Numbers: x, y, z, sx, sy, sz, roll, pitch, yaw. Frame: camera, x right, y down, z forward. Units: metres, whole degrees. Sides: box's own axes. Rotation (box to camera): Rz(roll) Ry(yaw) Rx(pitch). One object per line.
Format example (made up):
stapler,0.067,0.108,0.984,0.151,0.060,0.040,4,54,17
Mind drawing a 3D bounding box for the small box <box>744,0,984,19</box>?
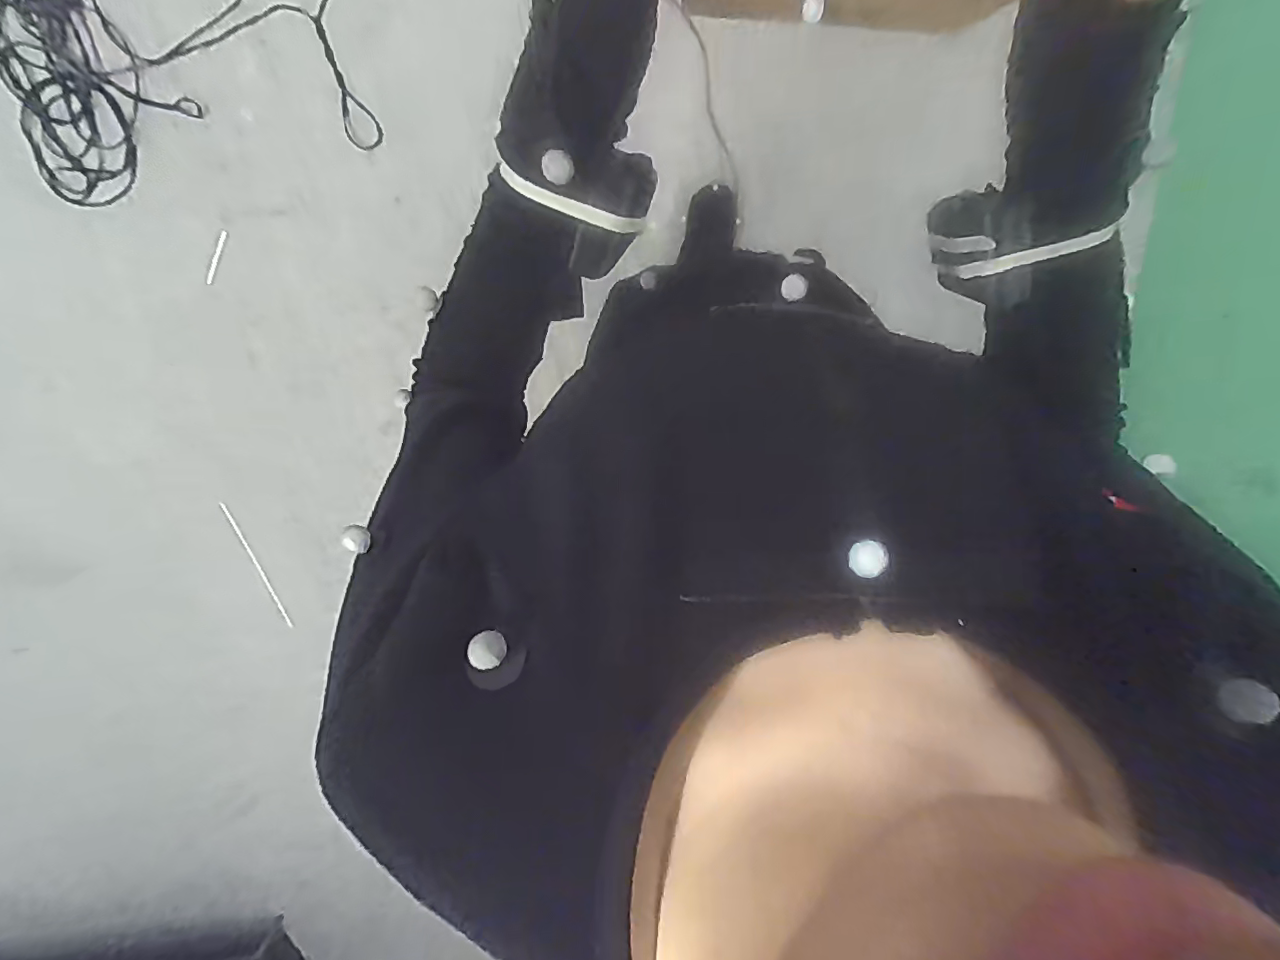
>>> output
small box,0.111,-0.312,0.202,0.168,0.176,0.179,5,120,2
